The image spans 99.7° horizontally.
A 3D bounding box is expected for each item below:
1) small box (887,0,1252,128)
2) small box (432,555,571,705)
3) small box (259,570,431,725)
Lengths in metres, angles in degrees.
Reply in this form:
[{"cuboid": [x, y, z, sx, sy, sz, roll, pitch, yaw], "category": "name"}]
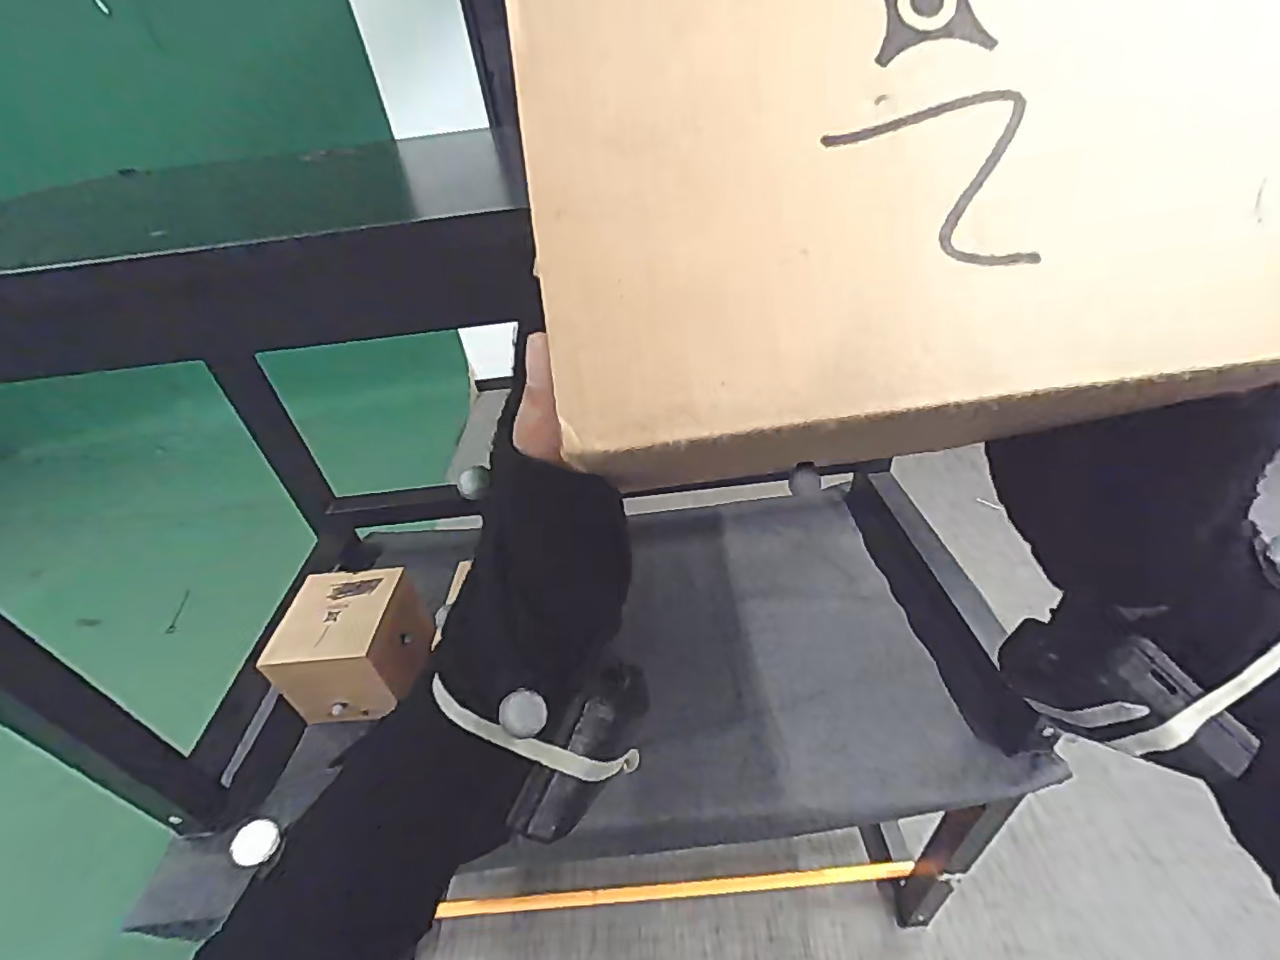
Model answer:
[{"cuboid": [0.279, -0.346, 0.362, 0.168, 0.176, 0.179, 1, 38, 10], "category": "small box"}, {"cuboid": [-0.211, 0.249, 0.882, 0.168, 0.176, 0.179, -6, 37, 2], "category": "small box"}, {"cuboid": [-0.463, 0.273, 0.887, 0.168, 0.176, 0.179, -6, 38, 2], "category": "small box"}]
